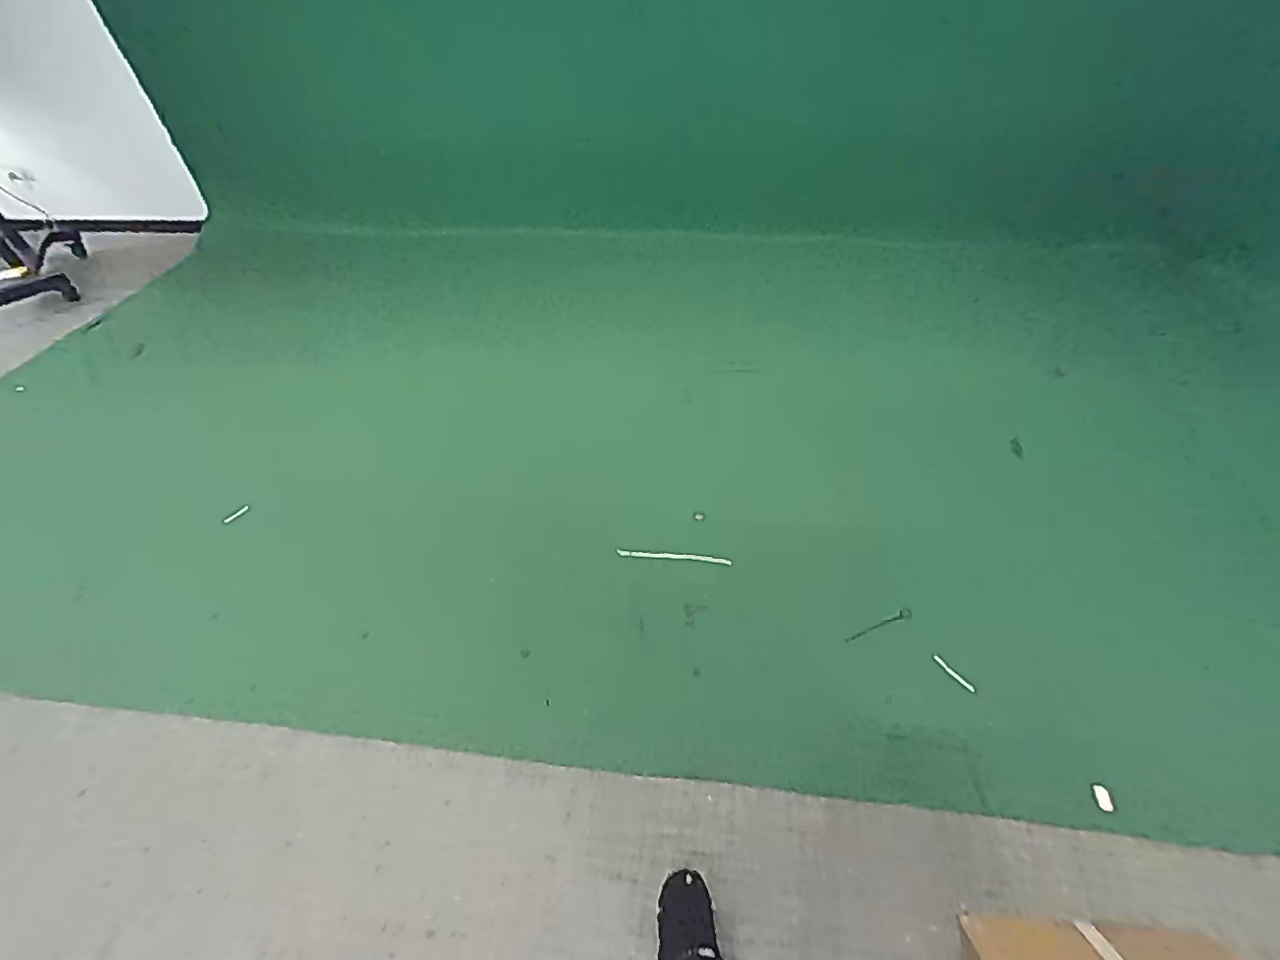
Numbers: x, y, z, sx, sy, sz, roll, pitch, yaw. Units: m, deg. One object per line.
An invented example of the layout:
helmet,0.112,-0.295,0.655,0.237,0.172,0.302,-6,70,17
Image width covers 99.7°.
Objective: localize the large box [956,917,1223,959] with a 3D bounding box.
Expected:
large box,0.581,0.756,0.550,0.320,0.408,0.320,-2,83,10
